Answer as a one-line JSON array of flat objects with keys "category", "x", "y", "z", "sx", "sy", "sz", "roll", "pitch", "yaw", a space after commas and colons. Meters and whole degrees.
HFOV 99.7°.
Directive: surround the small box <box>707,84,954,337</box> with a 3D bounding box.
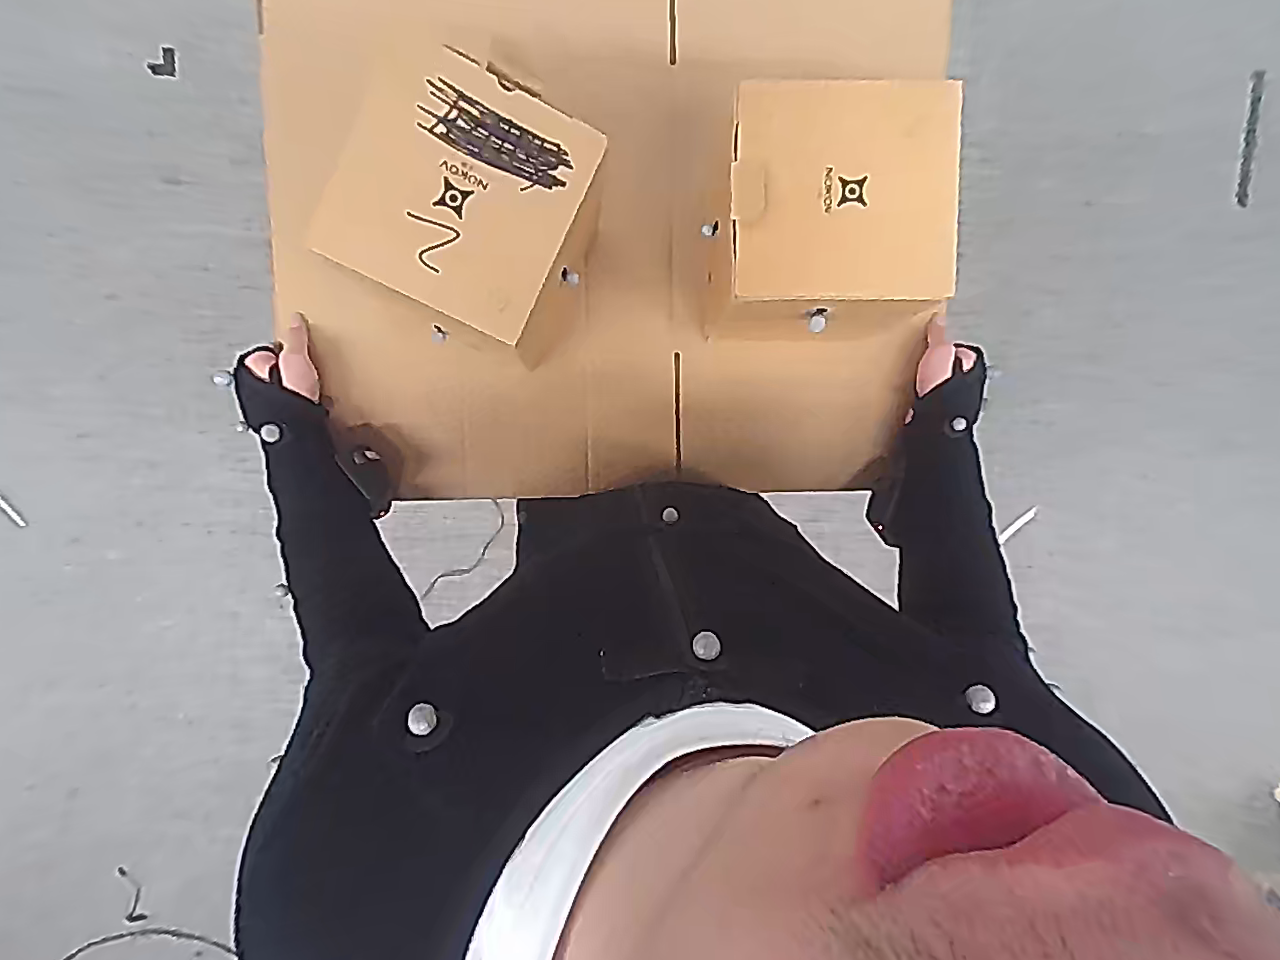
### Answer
[{"category": "small box", "x": 0.162, "y": -0.236, "z": 0.513, "sx": 0.179, "sy": 0.176, "sz": 0.168, "roll": 0, "pitch": 93, "yaw": 1}]
